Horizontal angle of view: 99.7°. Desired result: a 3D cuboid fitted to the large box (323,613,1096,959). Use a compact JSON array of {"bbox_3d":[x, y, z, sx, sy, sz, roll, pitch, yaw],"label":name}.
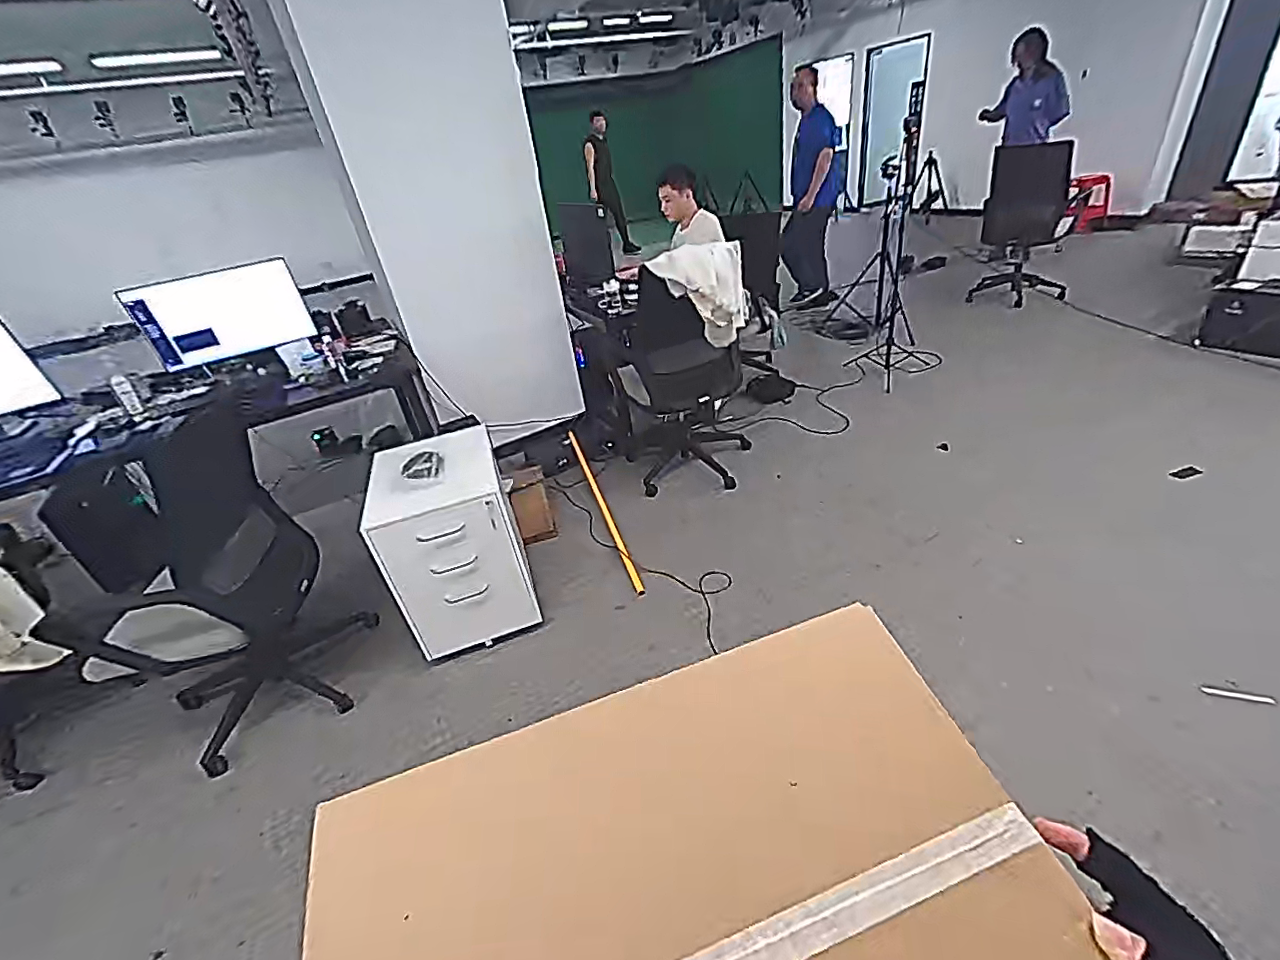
[{"bbox_3d":[0.044,0.364,0.401,0.408,0.320,0.320,-18,47,-9],"label":"large box"}]
